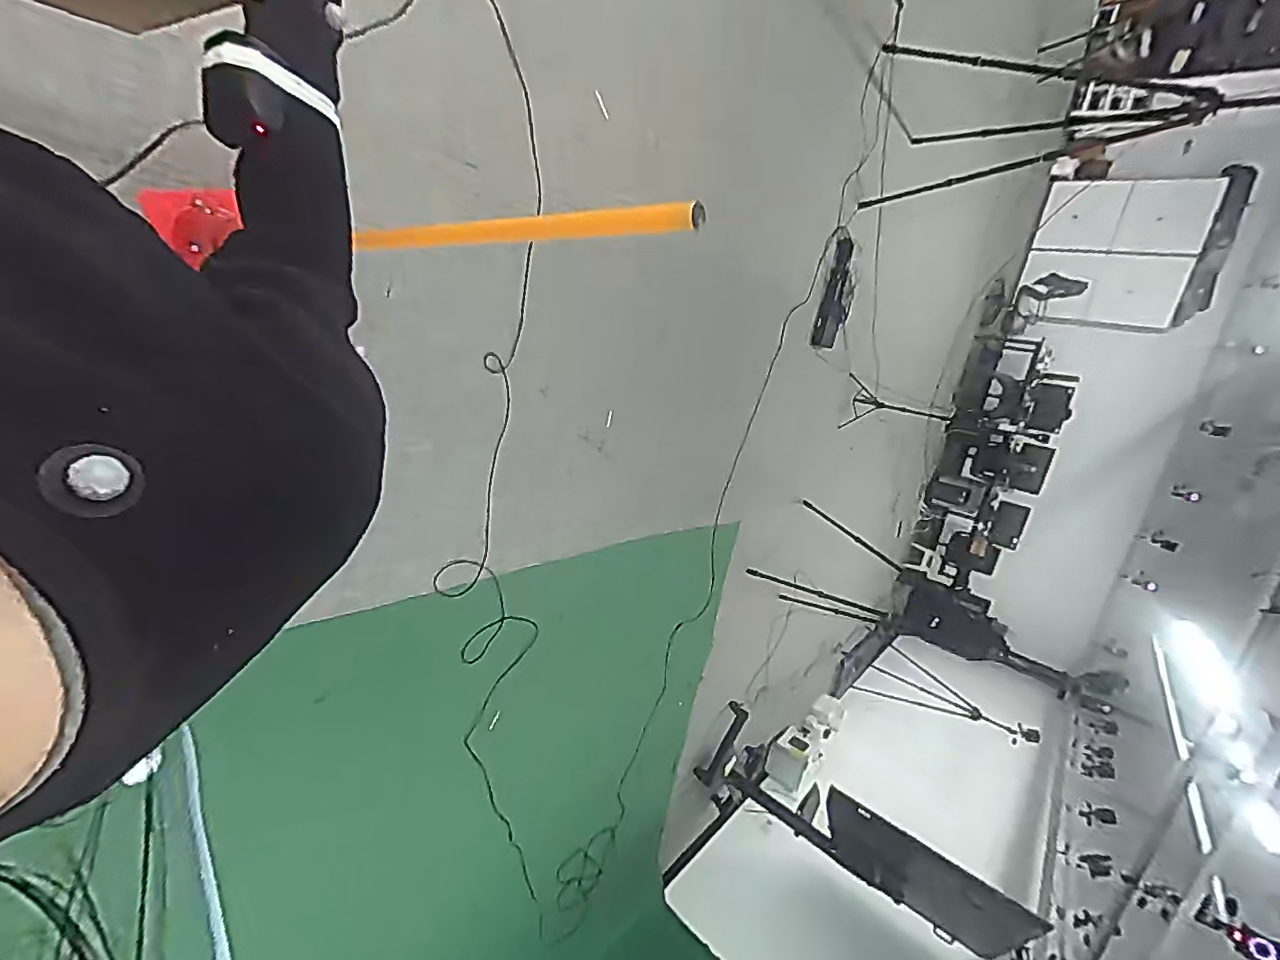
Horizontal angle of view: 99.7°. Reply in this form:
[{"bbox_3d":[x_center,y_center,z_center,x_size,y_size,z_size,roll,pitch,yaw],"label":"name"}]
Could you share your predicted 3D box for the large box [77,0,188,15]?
[{"bbox_3d":[-0.496,-0.513,0.271,0.408,0.320,0.320,-18,124,-50],"label":"large box"}]
